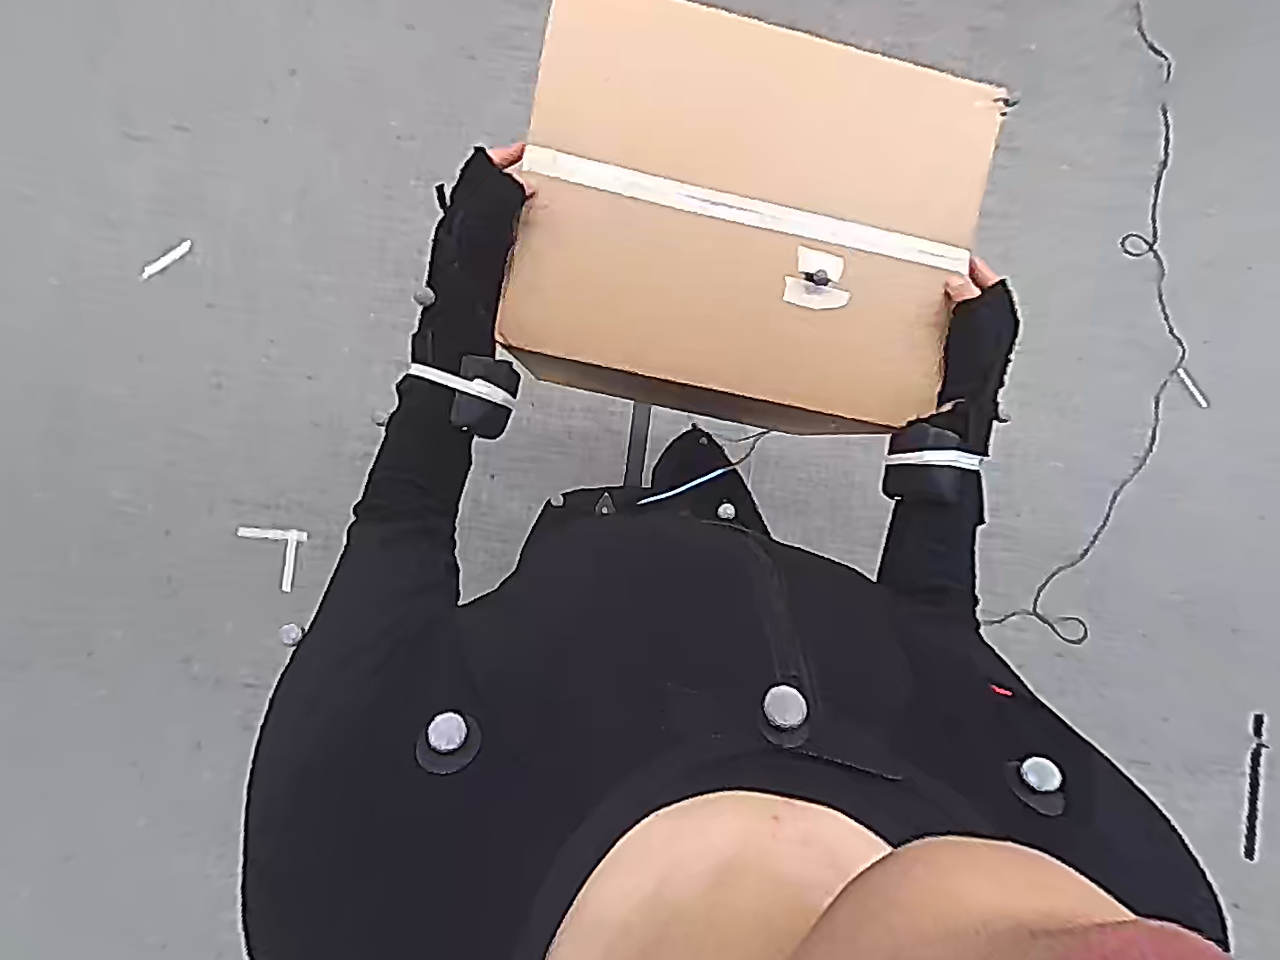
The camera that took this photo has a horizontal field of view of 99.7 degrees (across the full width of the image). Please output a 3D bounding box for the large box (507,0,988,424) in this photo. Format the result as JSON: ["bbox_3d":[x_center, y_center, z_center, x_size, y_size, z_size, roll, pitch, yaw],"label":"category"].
[{"bbox_3d":[0.086,-0.254,0.635,0.408,0.320,0.320,11,95,-7],"label":"large box"}]
